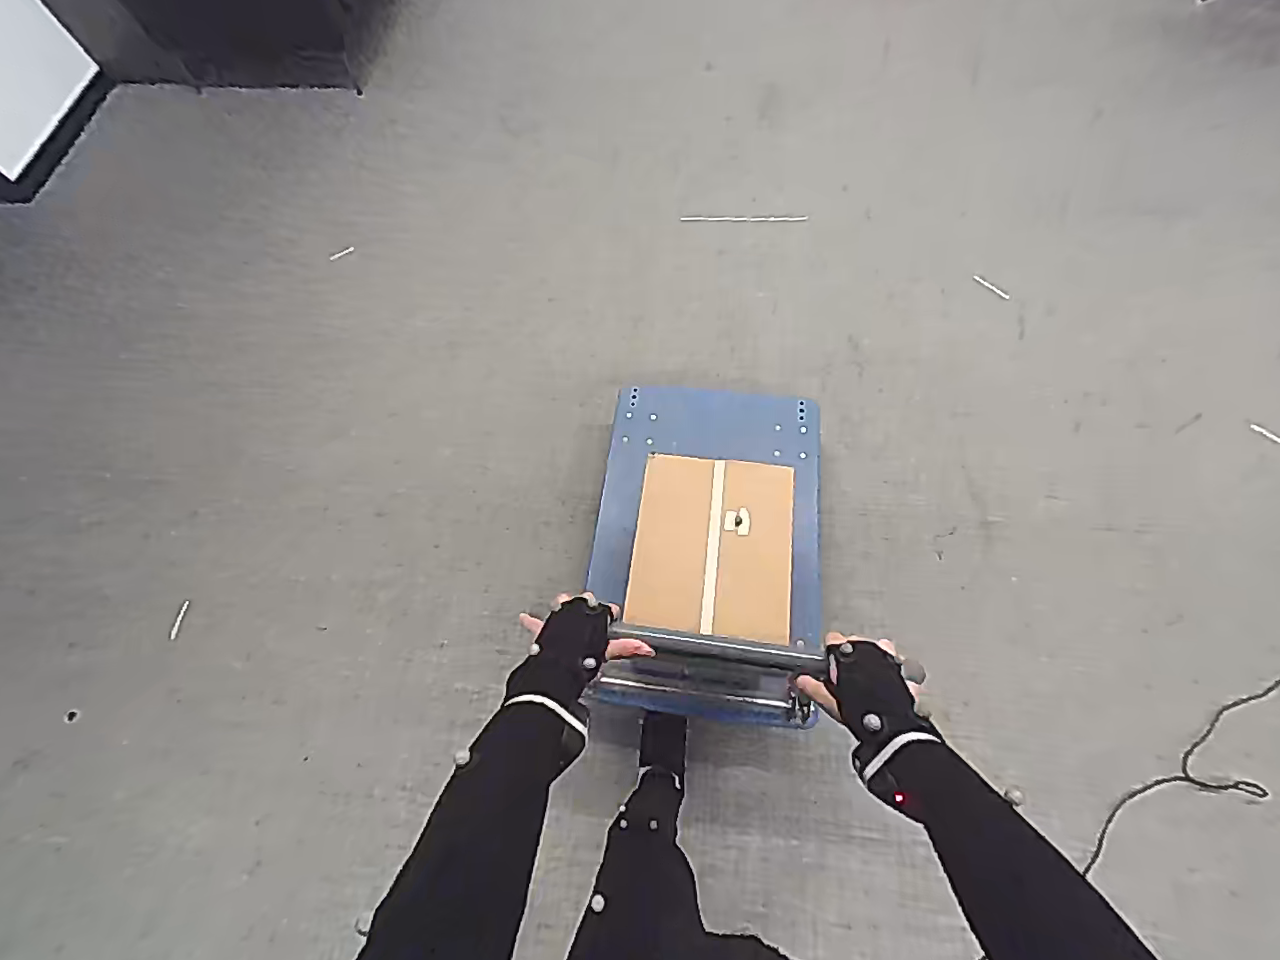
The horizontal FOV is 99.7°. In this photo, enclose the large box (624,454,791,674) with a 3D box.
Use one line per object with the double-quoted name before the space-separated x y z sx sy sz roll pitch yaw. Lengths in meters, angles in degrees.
"large box" 0.152 0.198 1.210 0.320 0.320 0.408 6 65 6
